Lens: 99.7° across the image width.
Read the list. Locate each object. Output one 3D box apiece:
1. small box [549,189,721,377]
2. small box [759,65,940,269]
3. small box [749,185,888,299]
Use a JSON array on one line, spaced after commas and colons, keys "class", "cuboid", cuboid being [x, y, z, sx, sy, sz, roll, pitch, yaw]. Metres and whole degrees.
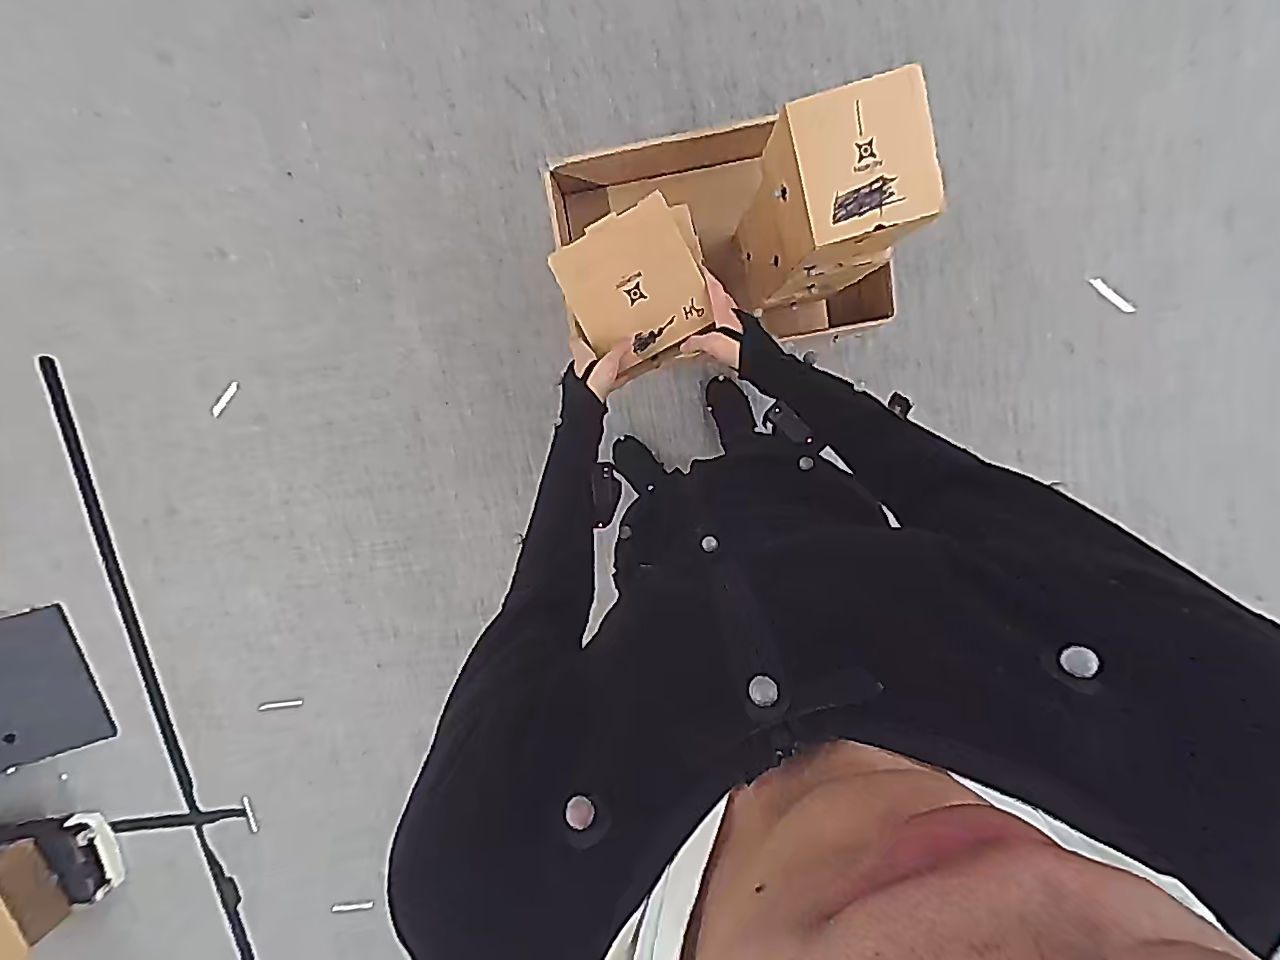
[{"class": "small box", "cuboid": [0.001, -0.256, 0.754, 0.168, 0.176, 0.179, -26, 95, 11]}, {"class": "small box", "cuboid": [0.272, -0.403, 0.735, 0.168, 0.176, 0.179, -15, 98, 4]}, {"class": "small box", "cuboid": [0.286, -0.418, 0.899, 0.168, 0.176, 0.179, -12, 99, 4]}]
